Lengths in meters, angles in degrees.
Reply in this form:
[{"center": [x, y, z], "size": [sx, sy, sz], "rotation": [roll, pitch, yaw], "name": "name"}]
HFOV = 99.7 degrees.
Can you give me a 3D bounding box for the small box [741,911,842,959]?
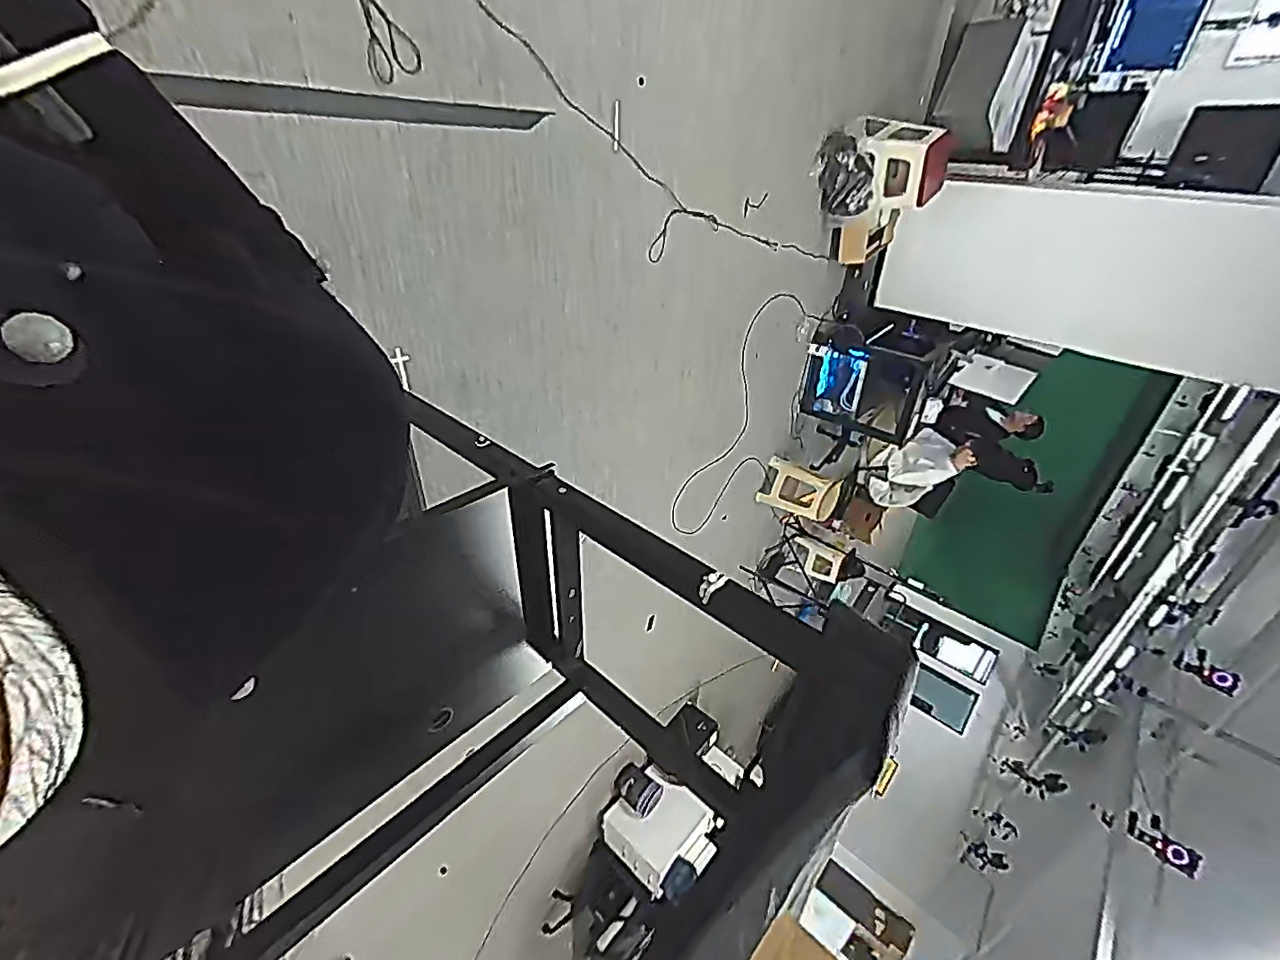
[{"center": [0.147, 0.571, 0.515], "size": [0.168, 0.176, 0.179], "rotation": [-27, 134, -41], "name": "small box"}]
